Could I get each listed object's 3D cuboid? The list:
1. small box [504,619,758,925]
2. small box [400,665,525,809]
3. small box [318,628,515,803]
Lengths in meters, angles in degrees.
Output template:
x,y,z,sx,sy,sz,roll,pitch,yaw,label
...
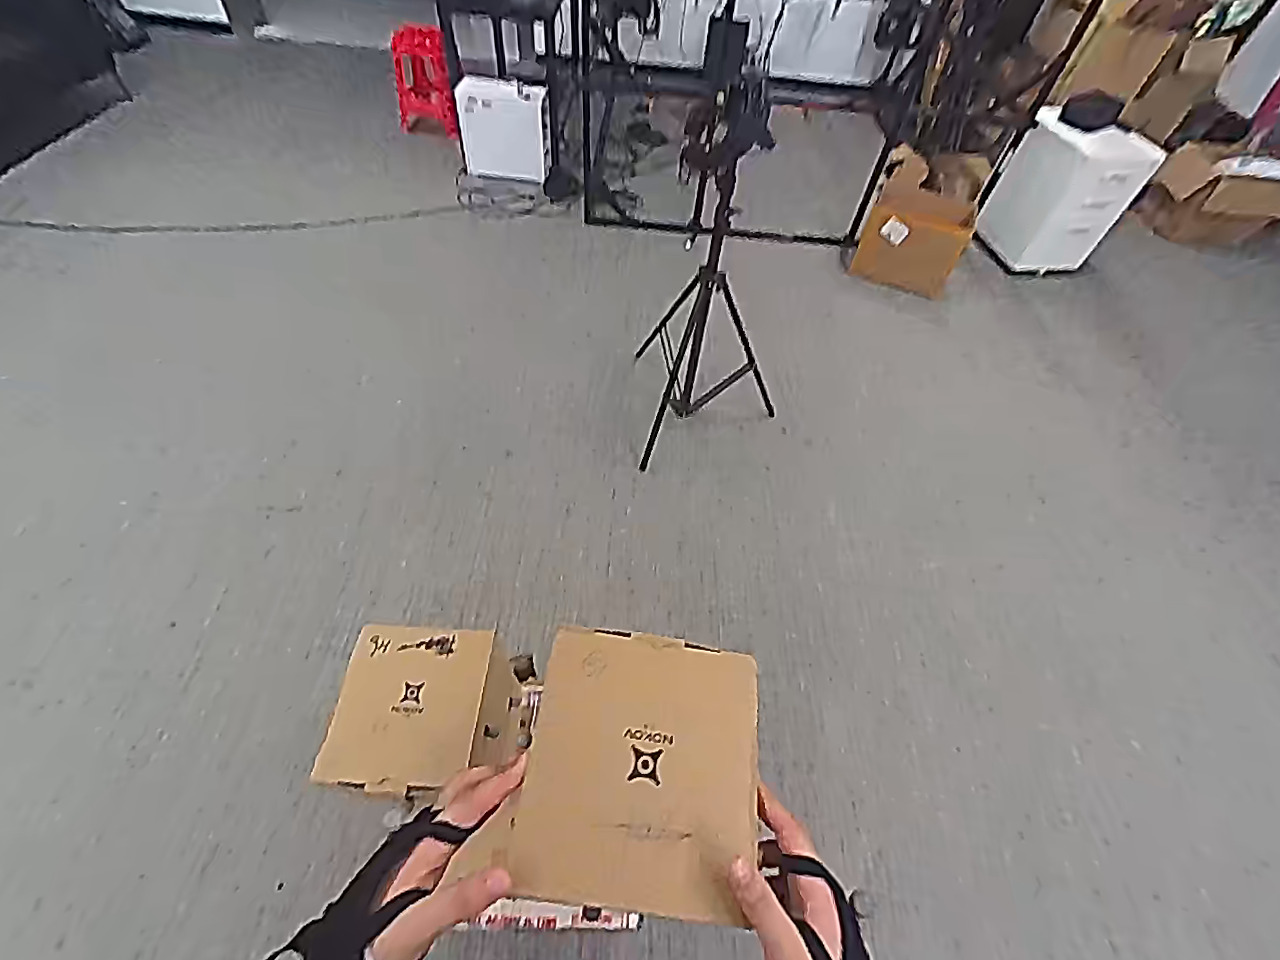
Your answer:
x,y,z,sx,sy,sz,roll,pitch,yaw,label
-0.008,0.237,0.452,0.168,0.176,0.179,10,58,-3,small box
-0.275,0.393,0.827,0.168,0.176,0.179,1,55,-1,small box
-0.263,0.304,0.688,0.168,0.176,0.179,3,55,-1,small box
